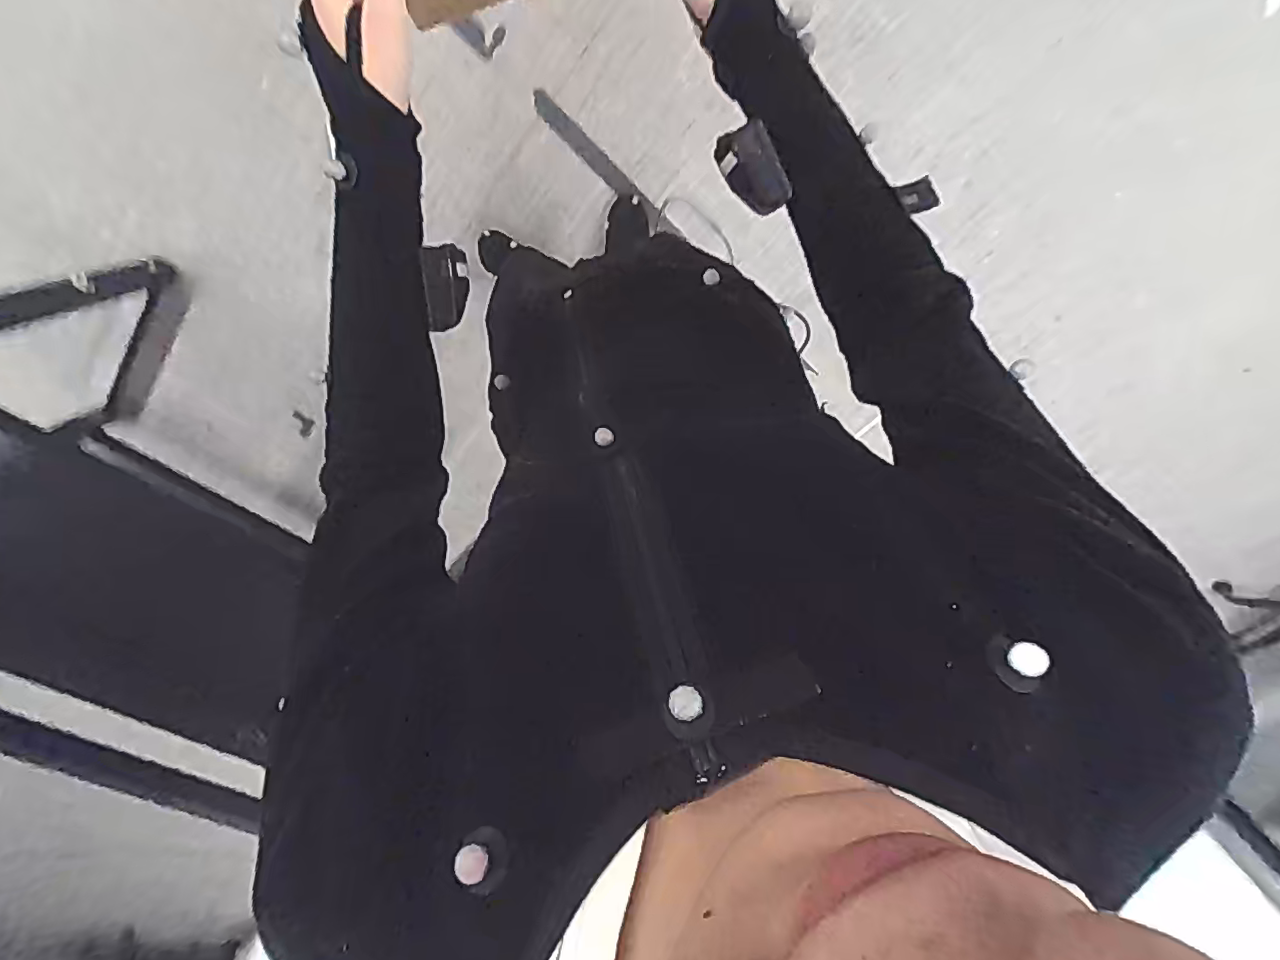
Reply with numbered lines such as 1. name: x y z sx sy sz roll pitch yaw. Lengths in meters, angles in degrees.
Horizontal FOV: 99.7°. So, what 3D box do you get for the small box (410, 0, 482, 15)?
1. small box: -0.118 -0.456 0.368 0.179 0.176 0.168 -23 125 -4
